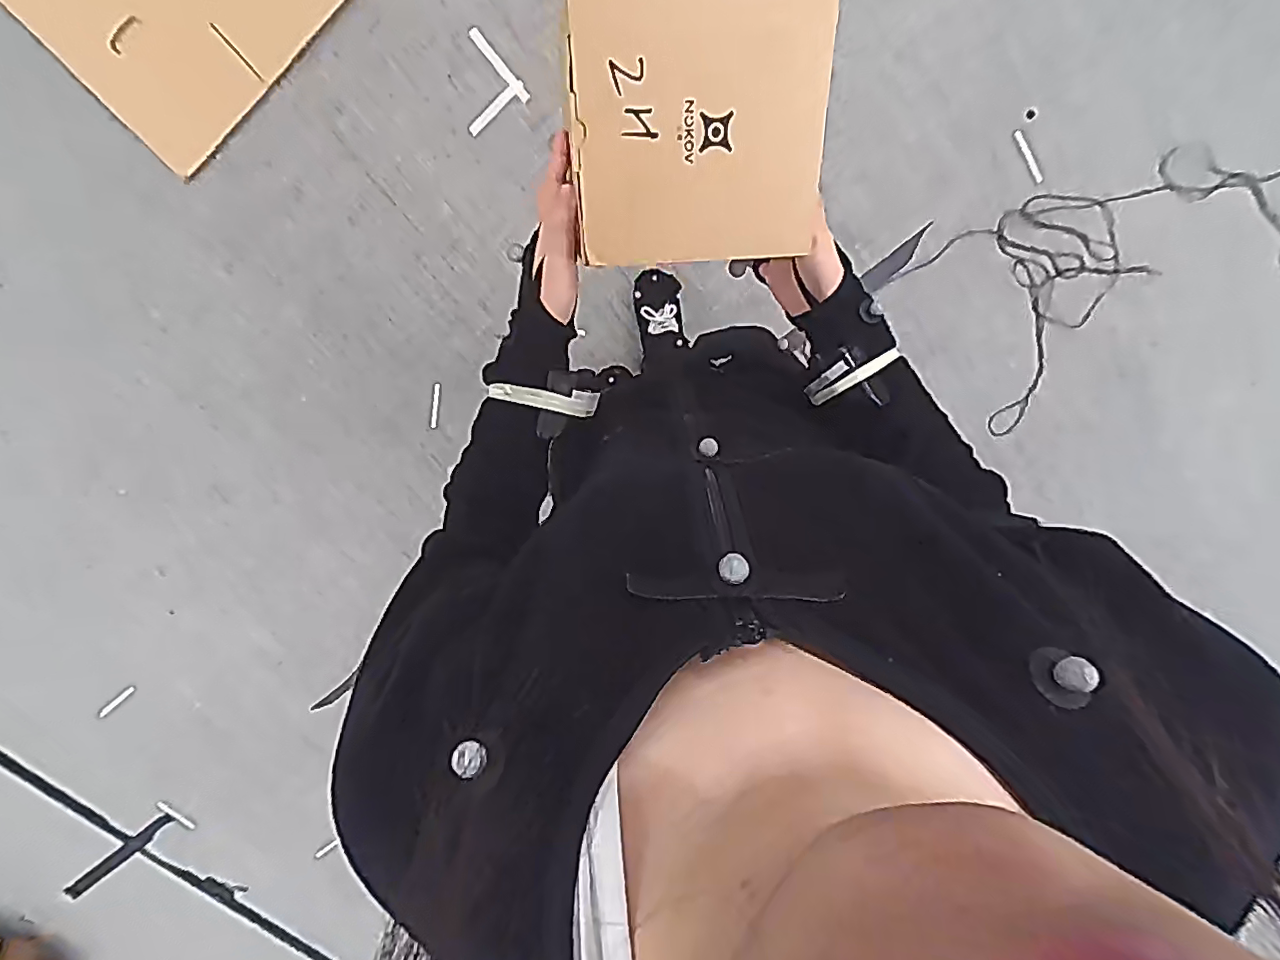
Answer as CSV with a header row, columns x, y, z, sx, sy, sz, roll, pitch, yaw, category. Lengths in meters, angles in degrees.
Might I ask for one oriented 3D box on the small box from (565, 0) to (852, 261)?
x,y,z,sx,sy,sz,roll,pitch,yaw,category
0.036,-0.273,0.431,0.179,0.176,0.168,-5,118,-7,small box
